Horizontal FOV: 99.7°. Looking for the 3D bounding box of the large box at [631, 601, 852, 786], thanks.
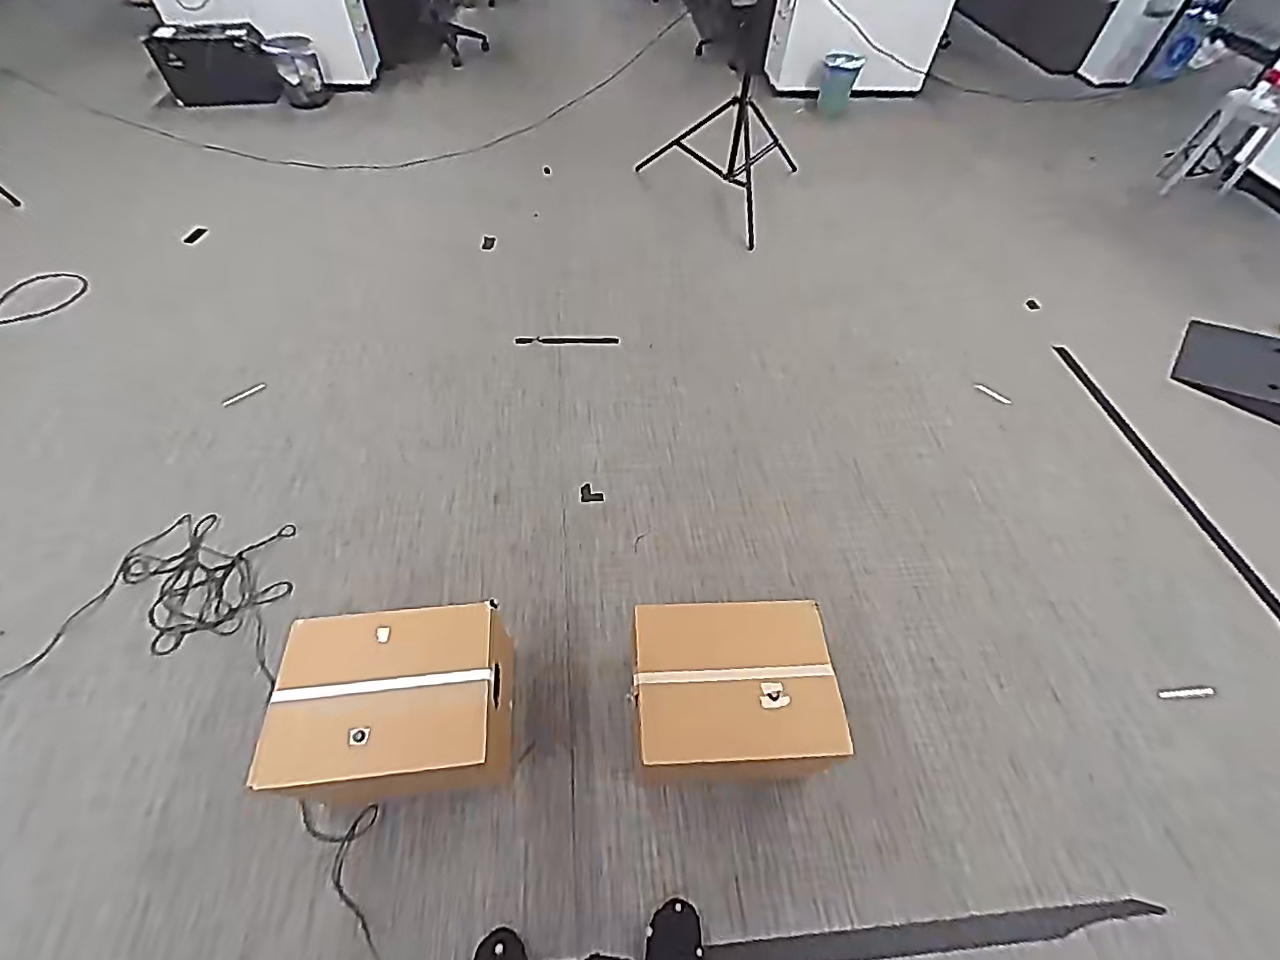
[{"bbox_3d":[0.192,0.487,1.224,0.408,0.320,0.320,0,54,-4],"label":"large box"}]
